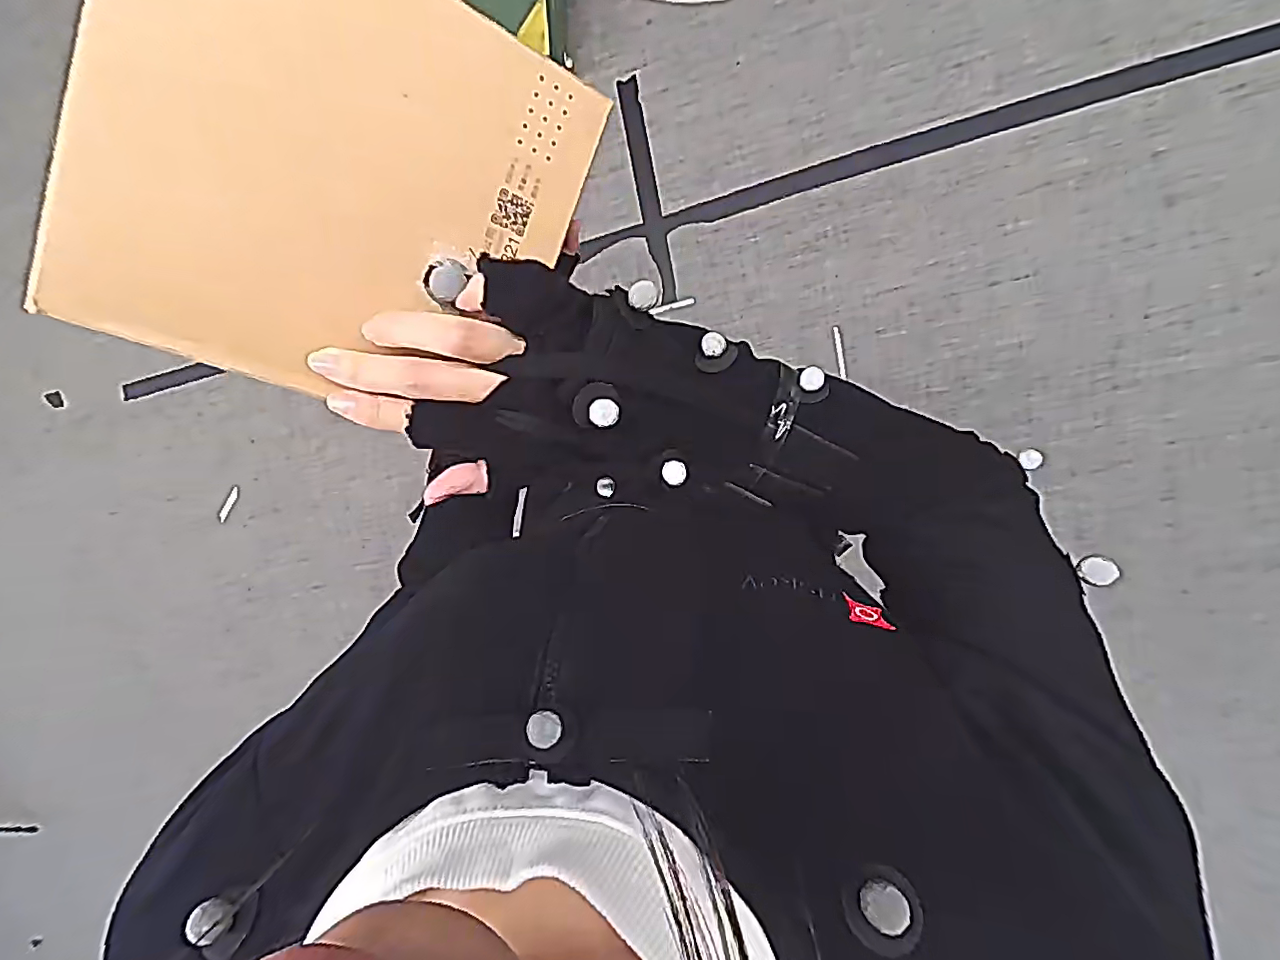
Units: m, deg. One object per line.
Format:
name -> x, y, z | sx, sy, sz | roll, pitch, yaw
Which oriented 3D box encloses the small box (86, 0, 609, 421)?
small box -> -0.139, -0.146, 0.303 | 0.176, 0.179, 0.168 | 18, 101, -26
